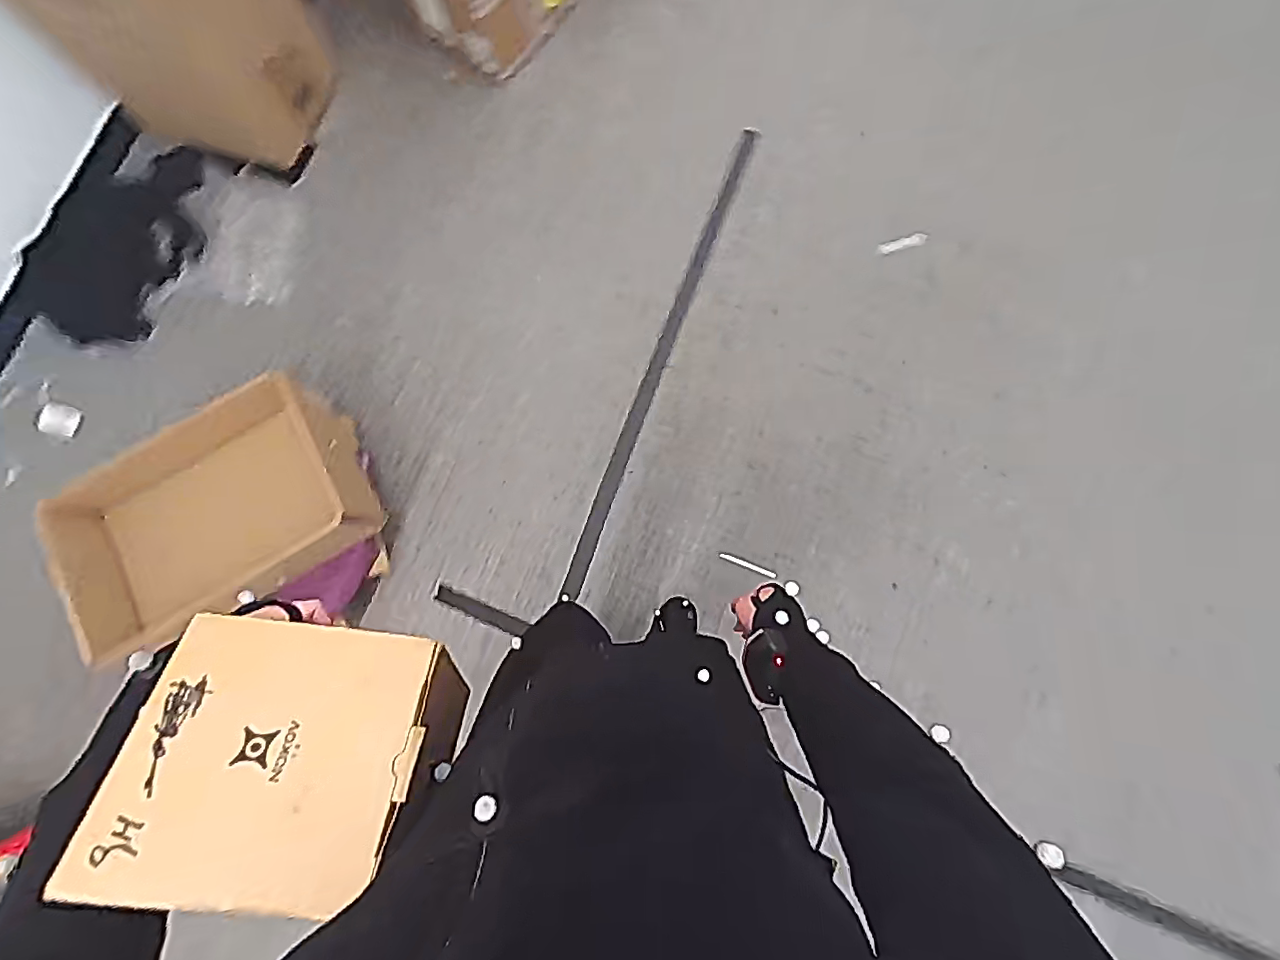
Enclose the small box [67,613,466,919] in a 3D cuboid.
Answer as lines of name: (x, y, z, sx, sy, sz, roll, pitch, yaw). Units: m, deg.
small box: (-0.248, 0.221, 0.425, 0.179, 0.176, 0.168, 9, 56, -4)
